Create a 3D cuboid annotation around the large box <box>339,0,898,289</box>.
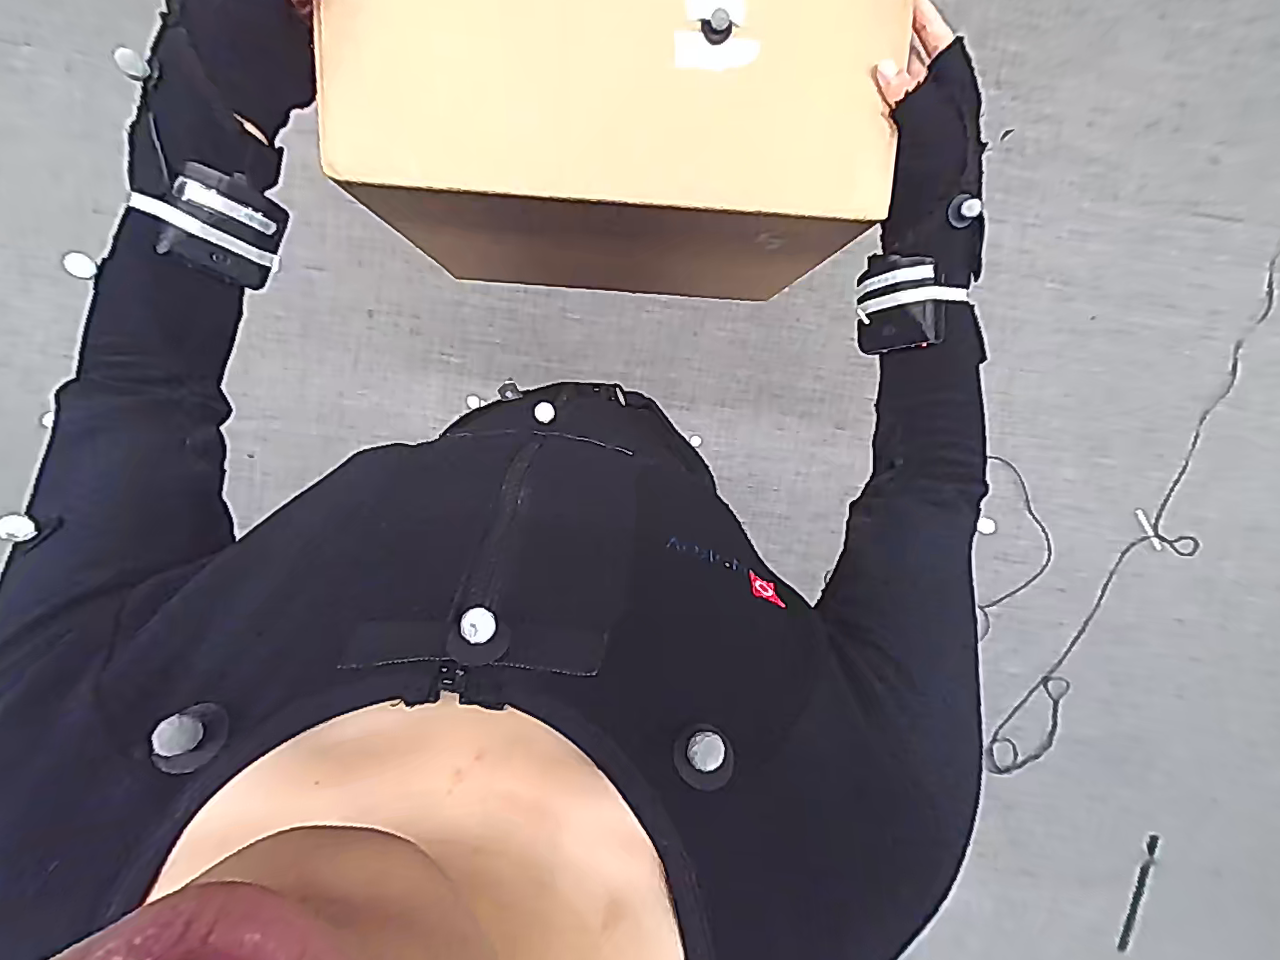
[{"bbox_3d":[-0.018,-0.384,0.527,0.408,0.320,0.320,3,98,-4],"label":"large box"}]
